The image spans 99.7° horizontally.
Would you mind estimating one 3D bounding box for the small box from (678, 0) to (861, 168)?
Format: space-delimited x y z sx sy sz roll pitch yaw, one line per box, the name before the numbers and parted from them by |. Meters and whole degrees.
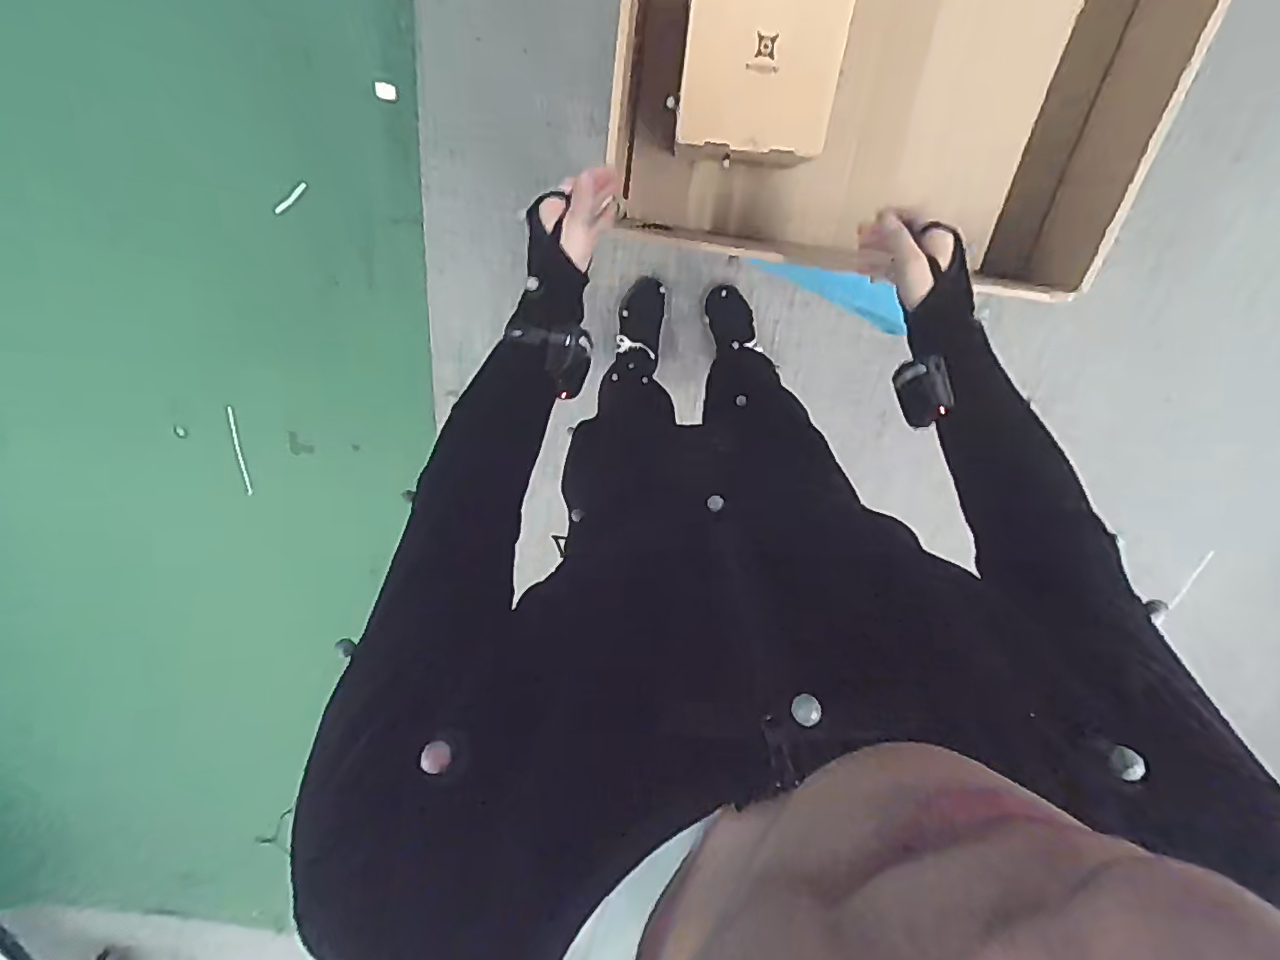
small box | 0.137 -0.479 0.633 0.168 0.176 0.179 6 117 -1
